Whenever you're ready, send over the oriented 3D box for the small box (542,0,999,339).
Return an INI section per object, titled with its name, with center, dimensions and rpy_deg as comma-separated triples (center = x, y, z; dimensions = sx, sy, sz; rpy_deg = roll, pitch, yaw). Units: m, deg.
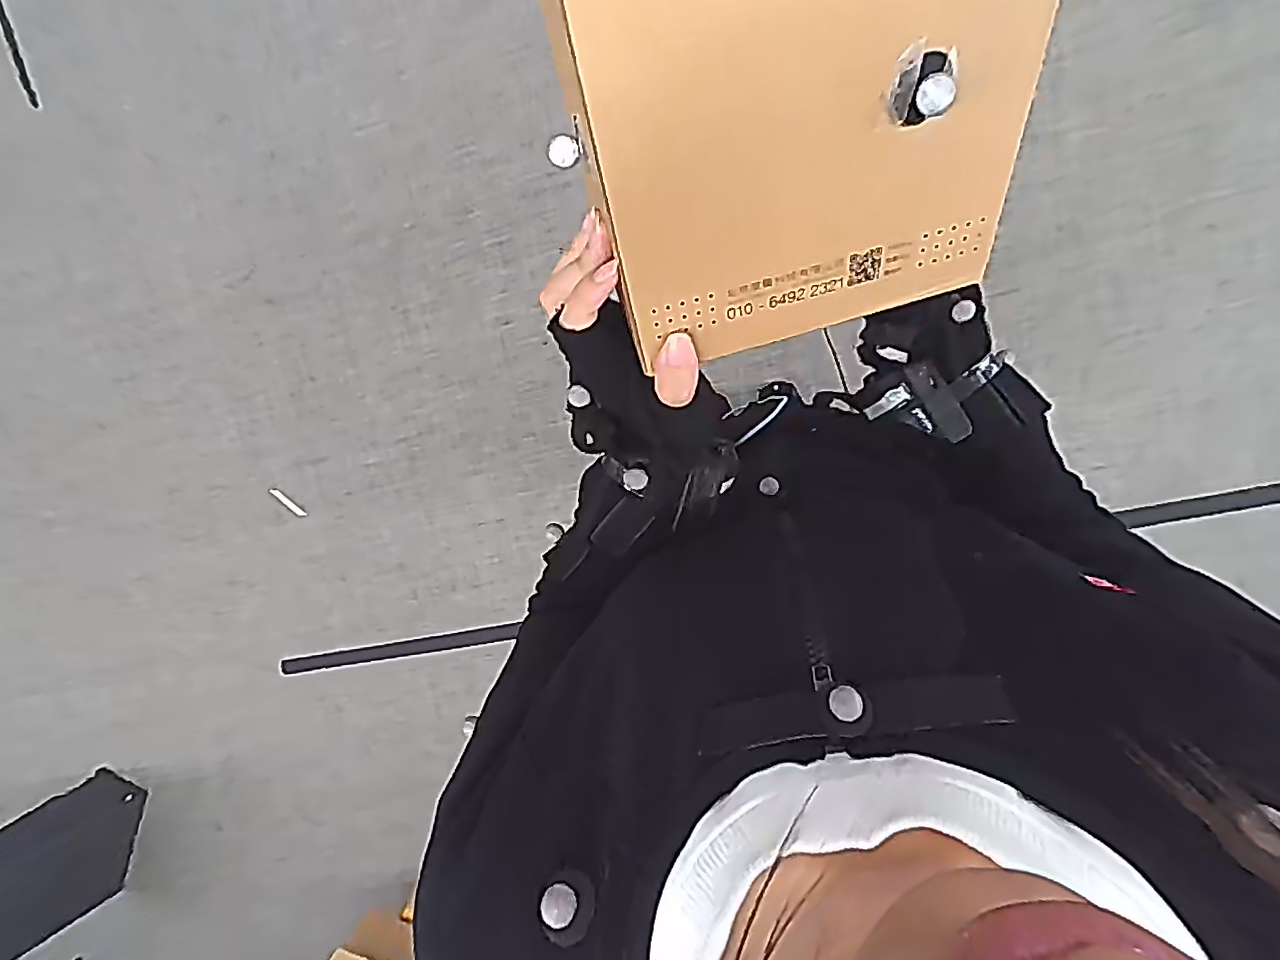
[small box]
center = 0.052, -0.190, 0.276
dimensions = 0.168, 0.179, 0.176
rpy_deg = -15, 135, 0
